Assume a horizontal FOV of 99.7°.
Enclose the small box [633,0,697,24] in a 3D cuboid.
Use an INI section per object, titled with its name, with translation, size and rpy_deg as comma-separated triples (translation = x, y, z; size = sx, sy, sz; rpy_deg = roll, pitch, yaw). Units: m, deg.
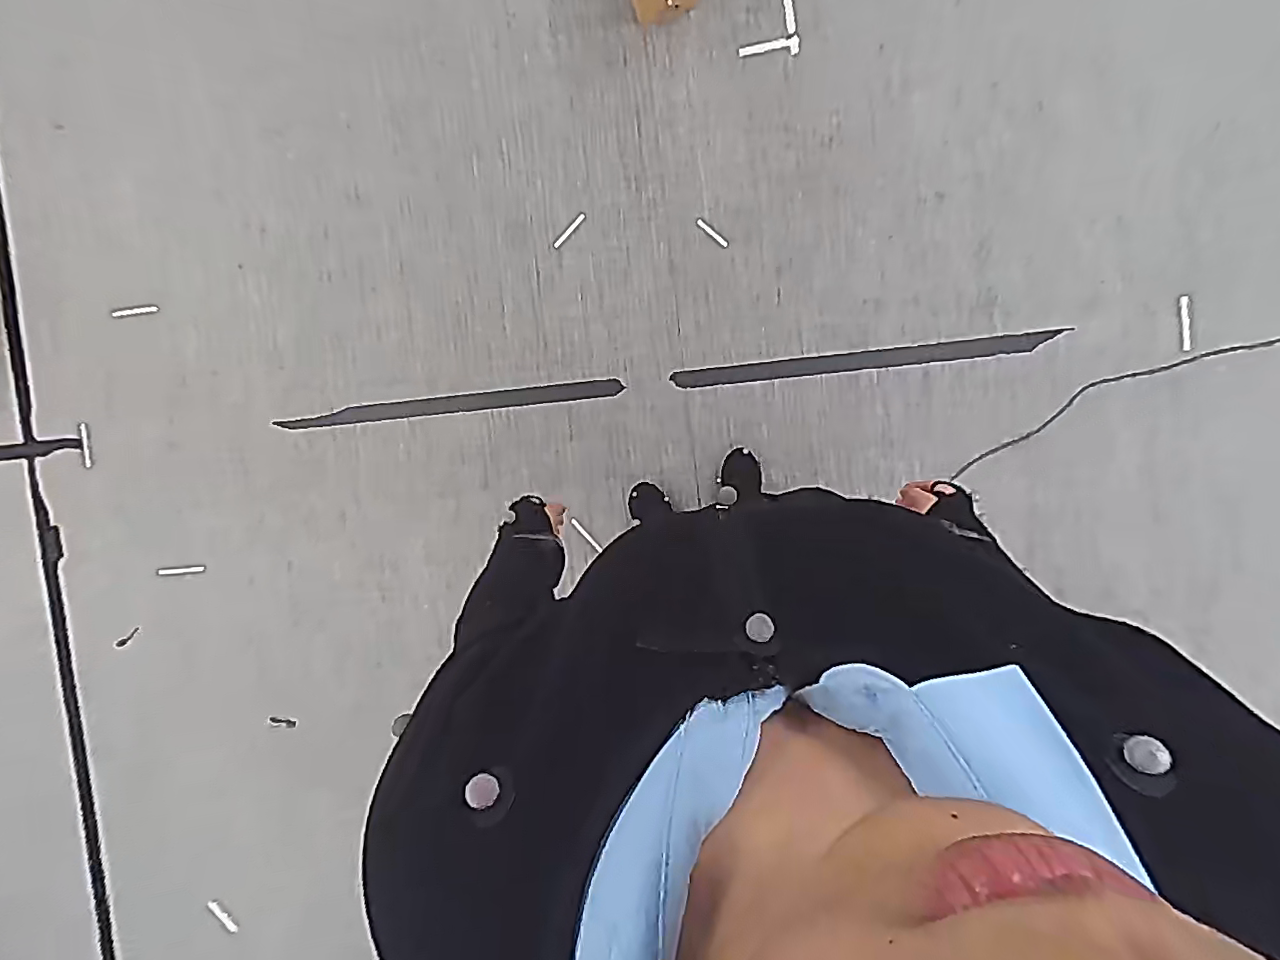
[small box]
translation = 0.046, -1.335, 1.381
size = 0.168, 0.176, 0.179
rpy_deg = -18, 90, 6
